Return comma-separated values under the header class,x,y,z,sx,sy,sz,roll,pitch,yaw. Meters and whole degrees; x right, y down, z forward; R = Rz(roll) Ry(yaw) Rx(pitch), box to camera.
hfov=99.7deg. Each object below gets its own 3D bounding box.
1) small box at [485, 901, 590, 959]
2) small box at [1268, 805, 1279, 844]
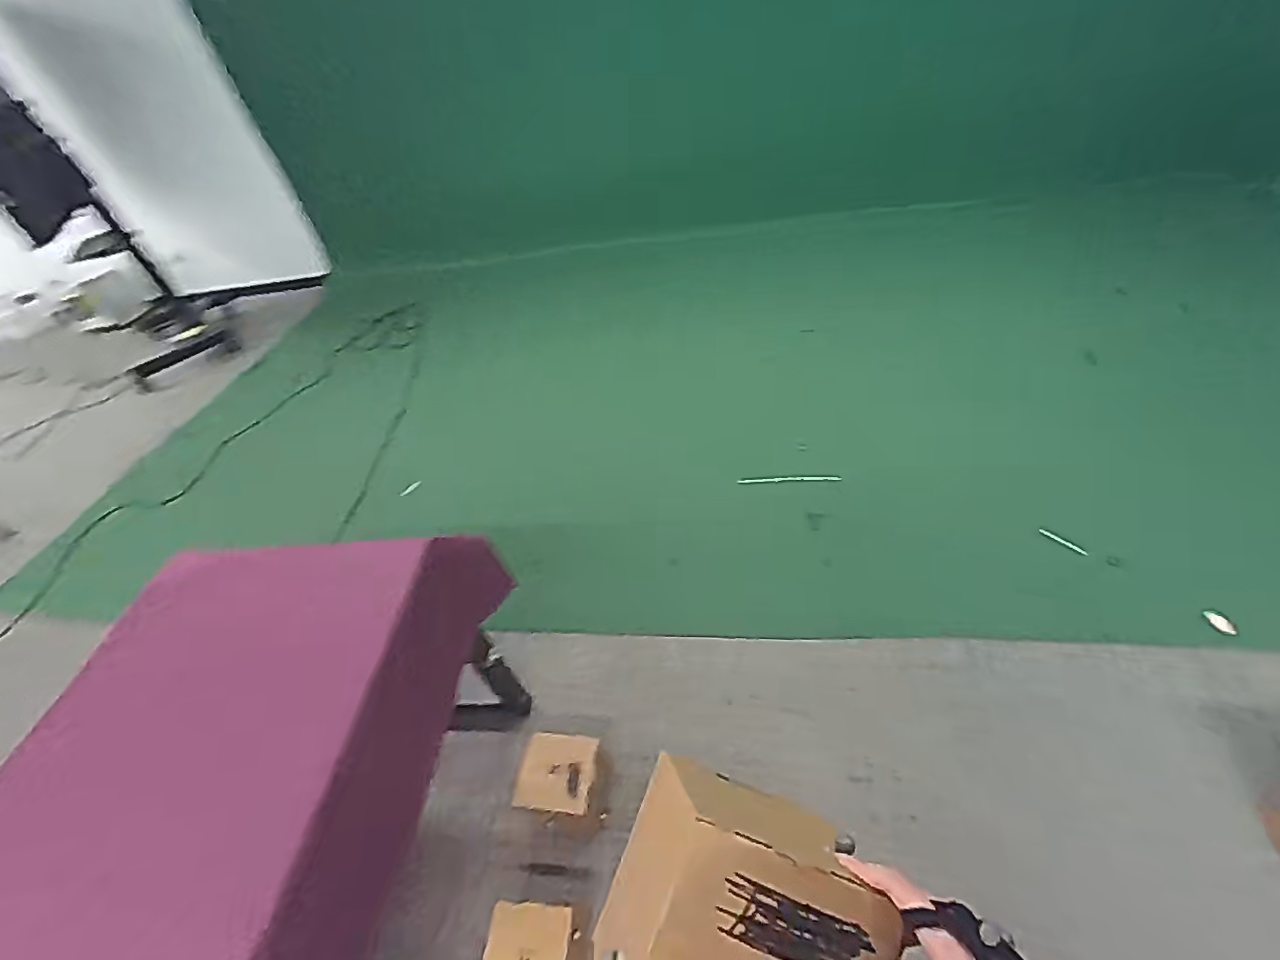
class,x,y,z,sx,sy,sz,roll,pitch,yaw
small box,-0.208,0.985,1.101,0.168,0.176,0.179,-4,44,10
small box,1.345,0.689,0.998,0.179,0.176,0.168,-3,45,11
